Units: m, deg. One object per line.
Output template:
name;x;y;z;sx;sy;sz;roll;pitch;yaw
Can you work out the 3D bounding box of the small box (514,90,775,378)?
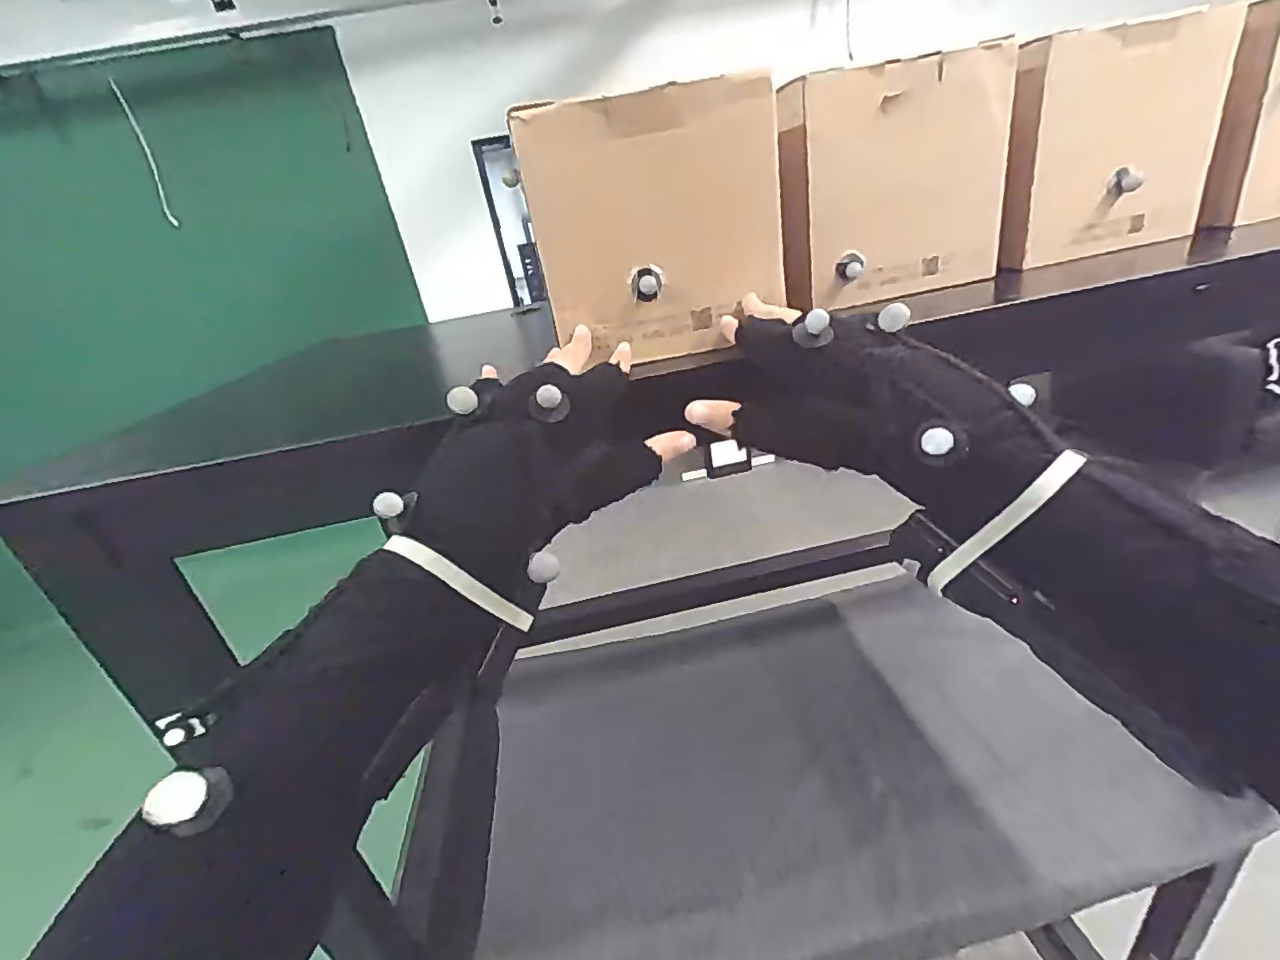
small box;0.004;-0.191;0.448;0.168;0.176;0.179;-11;25;-2
